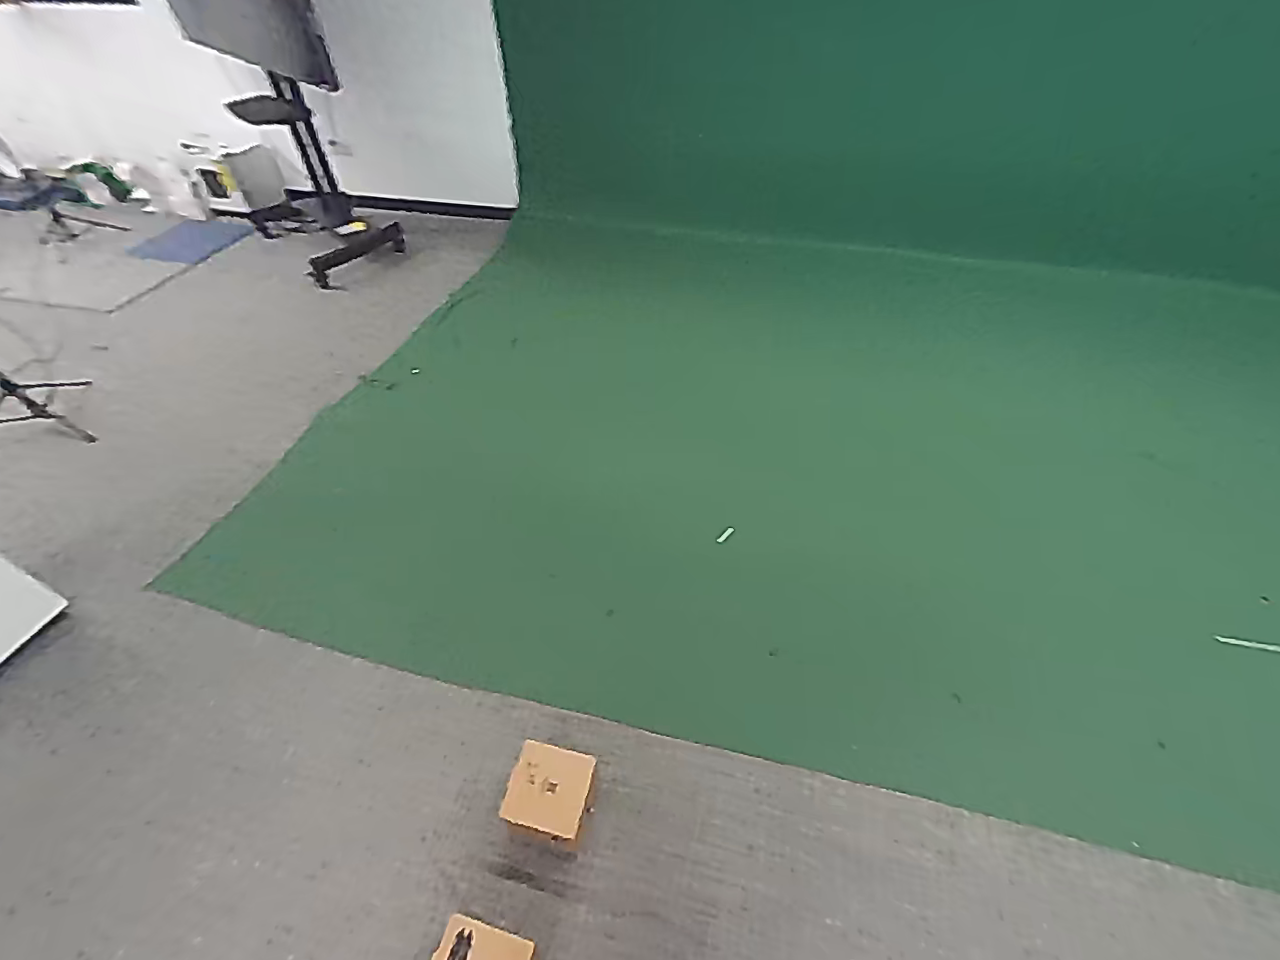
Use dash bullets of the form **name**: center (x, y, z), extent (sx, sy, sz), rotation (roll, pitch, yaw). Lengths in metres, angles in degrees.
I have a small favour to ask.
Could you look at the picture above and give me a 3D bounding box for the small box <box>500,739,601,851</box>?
- **small box**: center (-0.194, 0.726, 1.238), extent (0.179, 0.176, 0.168), rotation (10, 47, 10)
